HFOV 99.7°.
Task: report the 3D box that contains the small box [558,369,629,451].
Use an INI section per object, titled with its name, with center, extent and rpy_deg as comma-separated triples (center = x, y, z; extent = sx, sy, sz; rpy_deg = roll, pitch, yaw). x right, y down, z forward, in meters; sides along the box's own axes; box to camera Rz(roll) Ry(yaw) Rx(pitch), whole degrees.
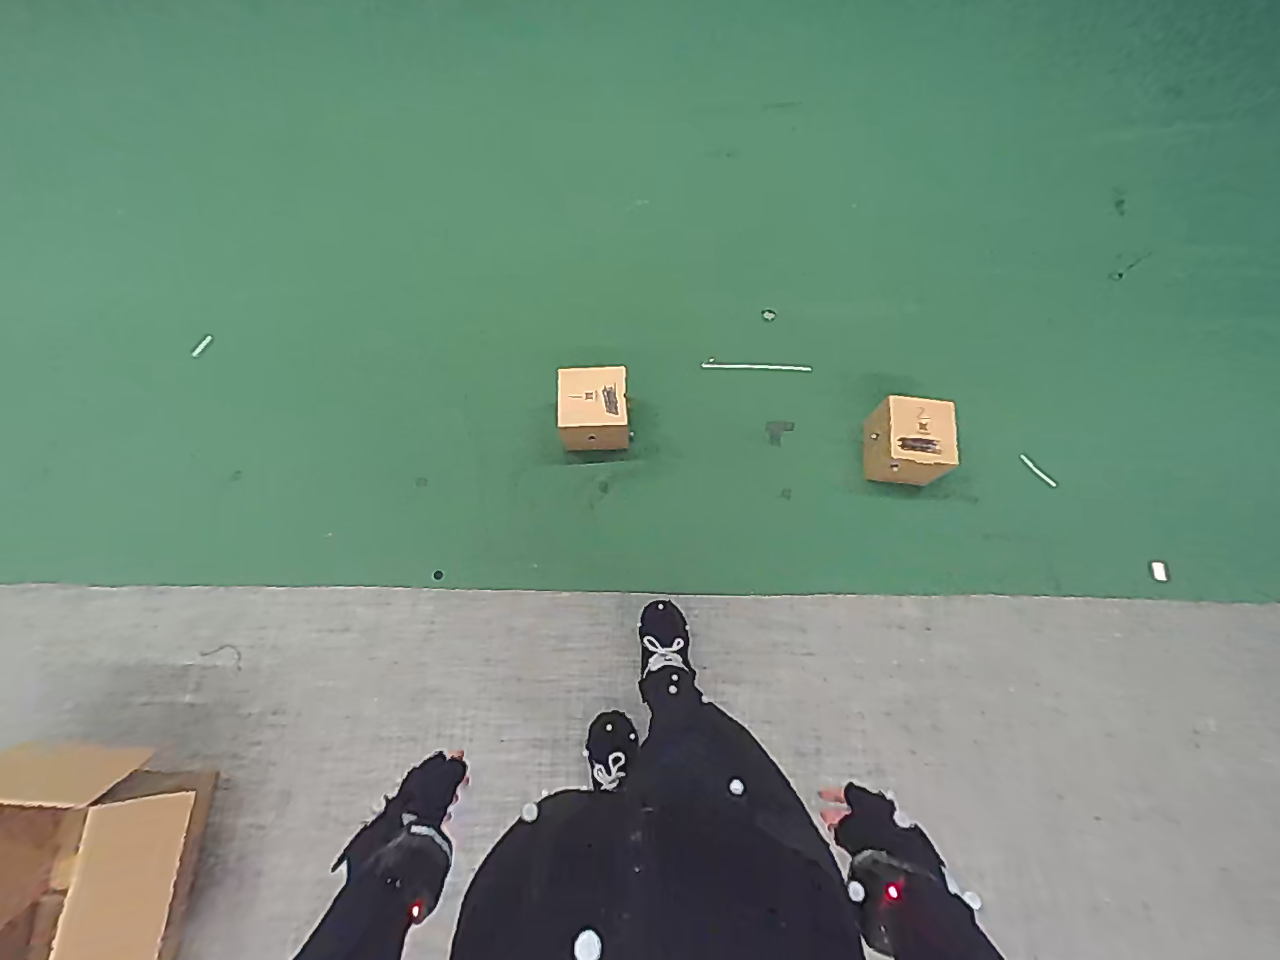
[small box]
center = -0.118, -0.181, 1.431
extent = 0.179, 0.176, 0.168
rpy_deg = -2, 72, 0
